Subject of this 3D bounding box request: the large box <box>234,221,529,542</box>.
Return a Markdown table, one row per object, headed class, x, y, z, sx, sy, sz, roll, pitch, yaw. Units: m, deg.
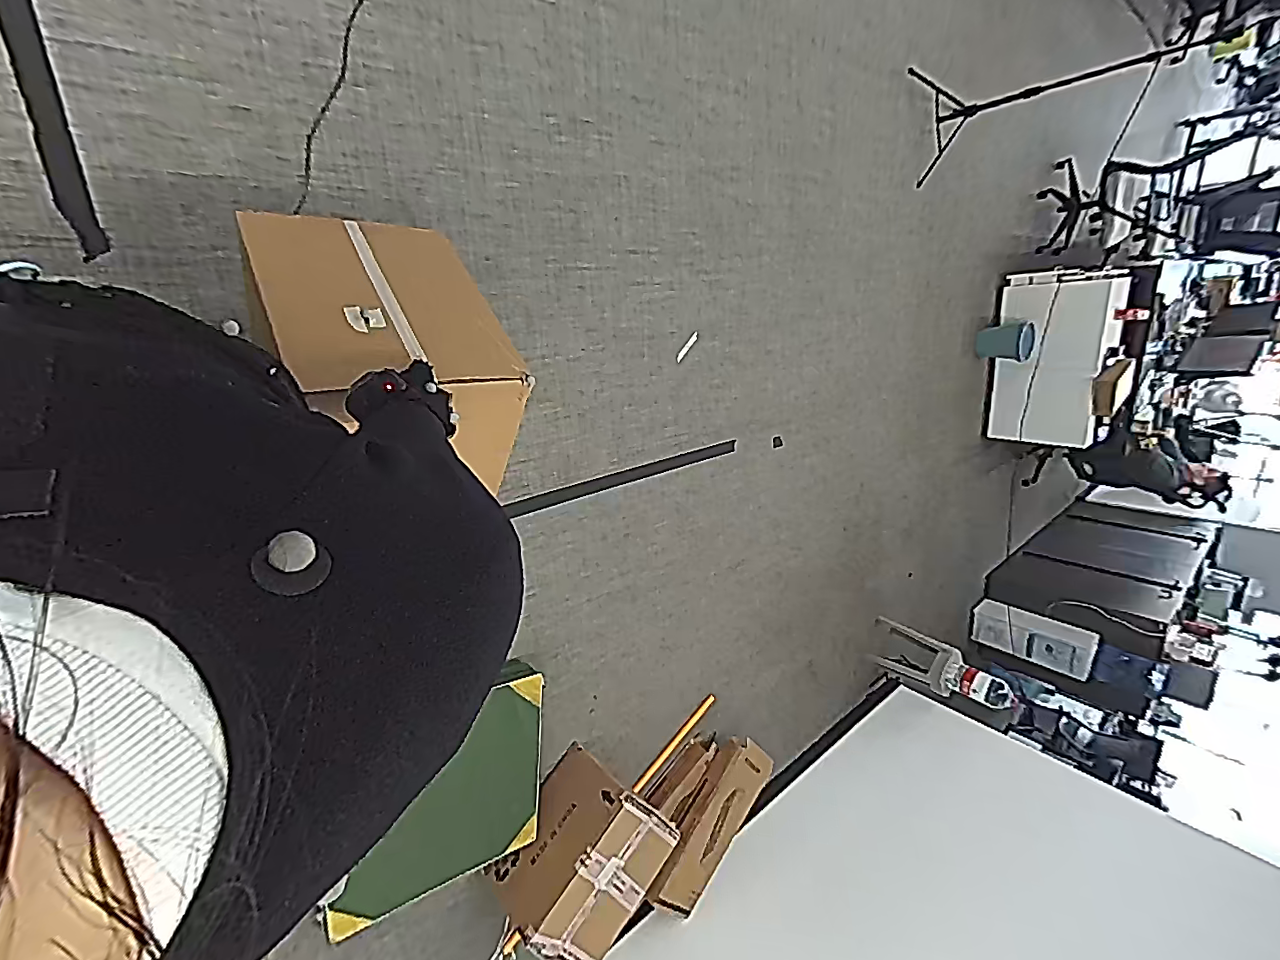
| class | x | y | z | sx | sy | sz | roll | pitch | yaw |
| --- | --- | --- | --- | --- | --- | --- | --- | --- | --- |
| large box | -0.445 | -0.168 | 0.912 | 0.320 | 0.408 | 0.320 | -13 | 148 | -37 |
